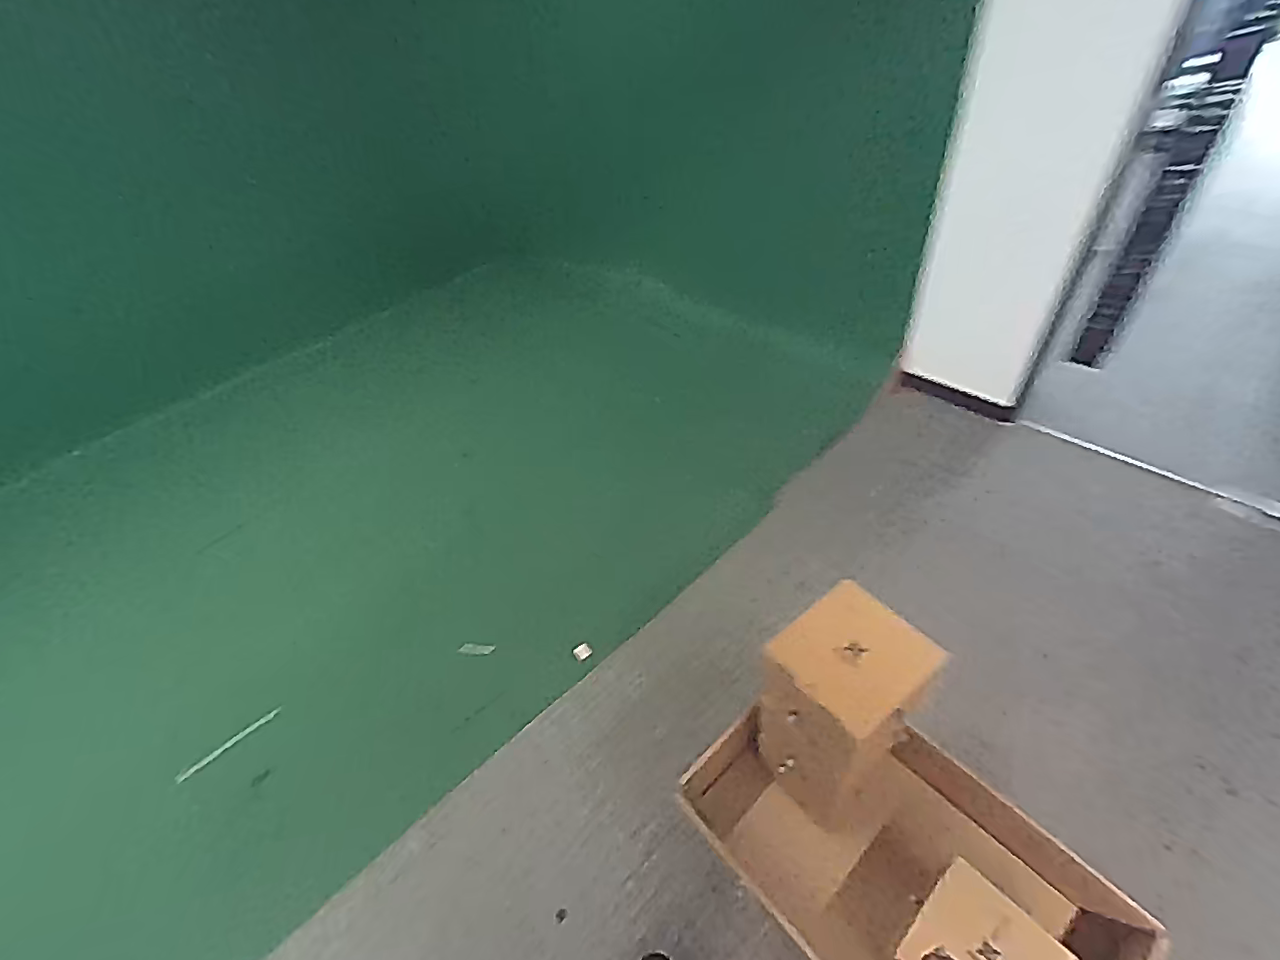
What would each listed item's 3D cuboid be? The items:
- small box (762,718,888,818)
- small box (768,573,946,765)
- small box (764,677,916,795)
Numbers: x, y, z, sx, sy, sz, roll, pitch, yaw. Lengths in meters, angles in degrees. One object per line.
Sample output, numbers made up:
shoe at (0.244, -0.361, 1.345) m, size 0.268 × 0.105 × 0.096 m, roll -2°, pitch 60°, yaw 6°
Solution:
small box at (0.347, 0.498, 1.031) m, size 0.179 × 0.176 × 0.168 m, roll -35°, pitch 49°, yaw -21°
small box at (0.303, 0.278, 0.796) m, size 0.179 × 0.176 × 0.168 m, roll -32°, pitch 49°, yaw -18°
small box at (0.324, 0.387, 0.913) m, size 0.179 × 0.176 × 0.168 m, roll -33°, pitch 49°, yaw -19°
